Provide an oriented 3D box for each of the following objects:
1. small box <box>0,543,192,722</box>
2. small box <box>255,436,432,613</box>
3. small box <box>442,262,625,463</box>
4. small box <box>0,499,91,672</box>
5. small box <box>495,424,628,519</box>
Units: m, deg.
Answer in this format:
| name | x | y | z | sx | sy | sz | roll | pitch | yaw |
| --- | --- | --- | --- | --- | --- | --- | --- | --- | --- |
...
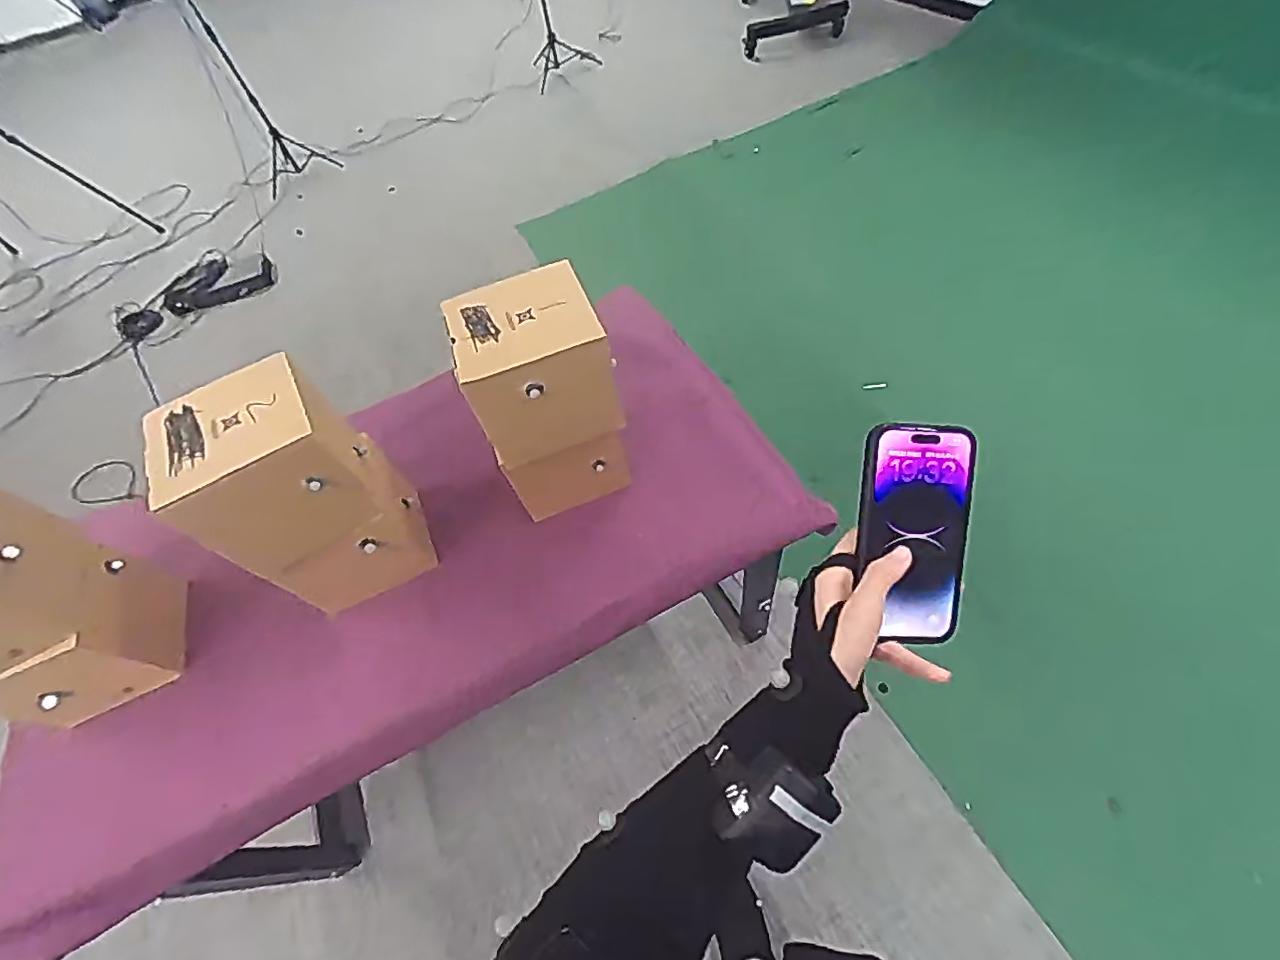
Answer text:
| name | x | y | z | sx | sy | sz | roll | pitch | yaw |
| --- | --- | --- | --- | --- | --- | --- | --- | --- | --- |
| small box | -0.792 | 0.226 | 0.777 | 0.168 | 0.176 | 0.179 | -25 | 56 | -7 |
| small box | -0.435 | 0.071 | 0.817 | 0.179 | 0.176 | 0.168 | -26 | 56 | -8 |
| small box | -0.135 | -0.148 | 0.716 | 0.179 | 0.176 | 0.168 | -21 | 55 | -5 |
| small box | -0.819 | 0.130 | 0.646 | 0.168 | 0.176 | 0.179 | -29 | 57 | -11 |
| small box | -0.125 | -0.065 | 0.858 | 0.179 | 0.176 | 0.168 | -21 | 55 | -4 |
